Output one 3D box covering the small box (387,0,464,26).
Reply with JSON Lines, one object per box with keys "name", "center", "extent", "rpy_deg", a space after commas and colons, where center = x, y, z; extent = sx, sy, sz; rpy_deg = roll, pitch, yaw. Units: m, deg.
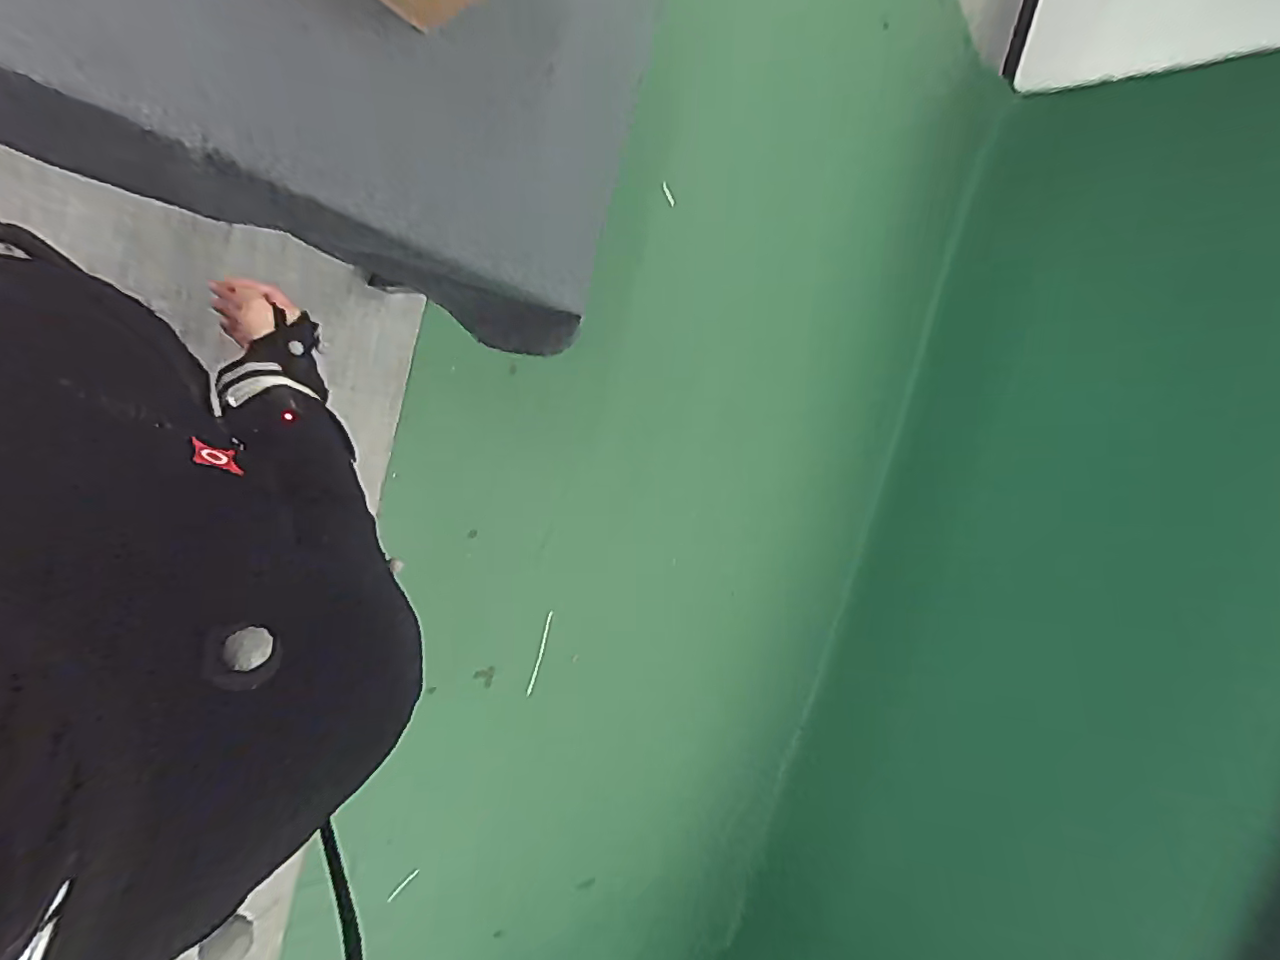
{"name": "small box", "center": [-0.198, -0.537, 0.447], "extent": [0.168, 0.176, 0.179], "rpy_deg": [10, 96, -48]}
